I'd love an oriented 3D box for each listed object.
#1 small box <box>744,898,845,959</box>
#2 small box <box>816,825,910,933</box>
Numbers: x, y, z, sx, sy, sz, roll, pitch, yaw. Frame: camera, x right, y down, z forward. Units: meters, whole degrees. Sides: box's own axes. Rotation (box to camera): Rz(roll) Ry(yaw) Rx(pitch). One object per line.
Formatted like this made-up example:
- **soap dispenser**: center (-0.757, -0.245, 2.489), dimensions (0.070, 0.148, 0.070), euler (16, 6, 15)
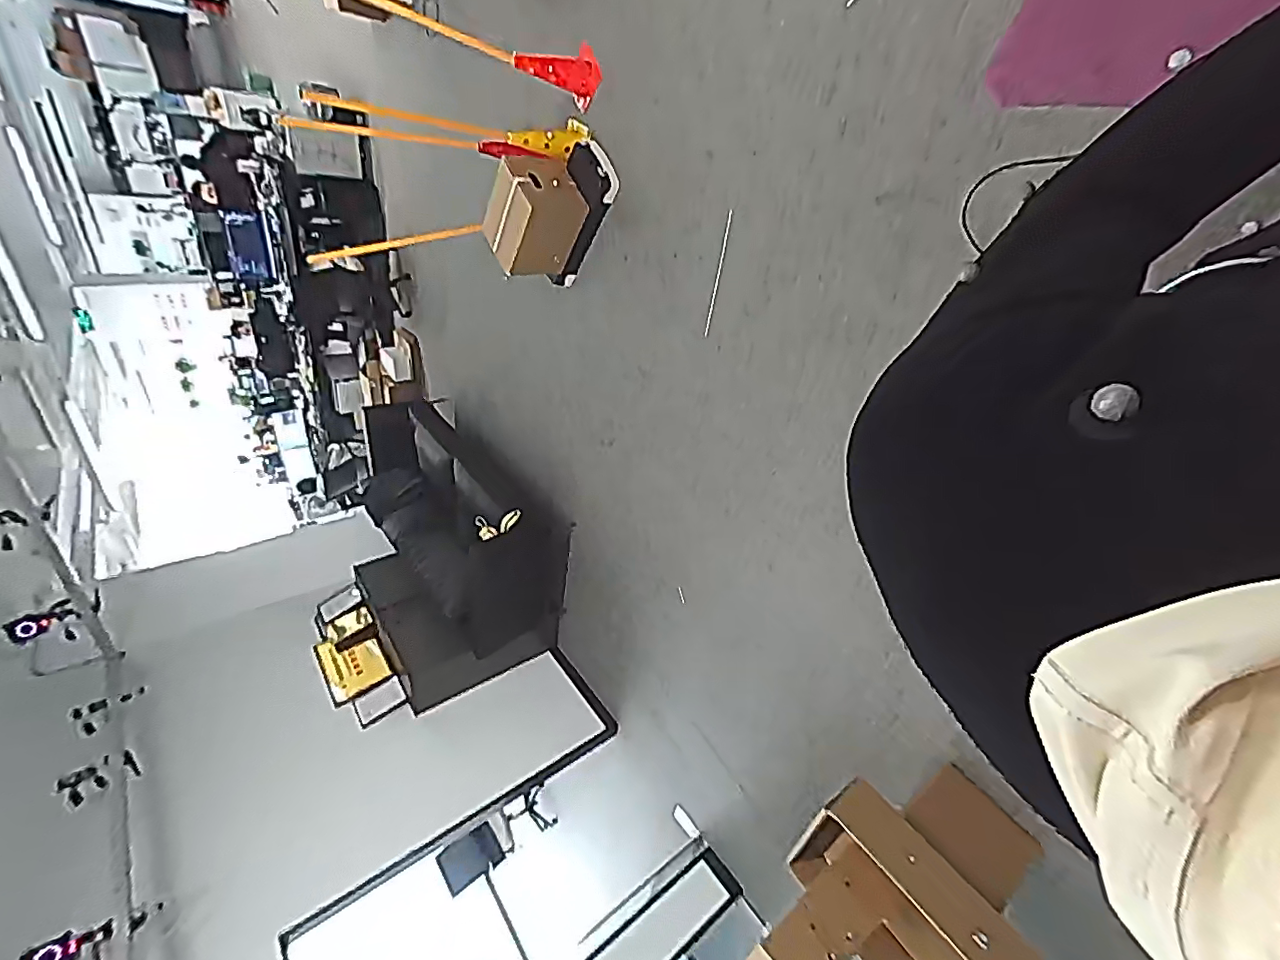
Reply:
- **small box**: center (0.409, 1.260, 1.426), dimensions (0.168, 0.176, 0.179), euler (41, 135, 37)
- **small box**: center (0.668, 1.187, 1.615), dimensions (0.168, 0.176, 0.179), euler (42, 134, 37)
